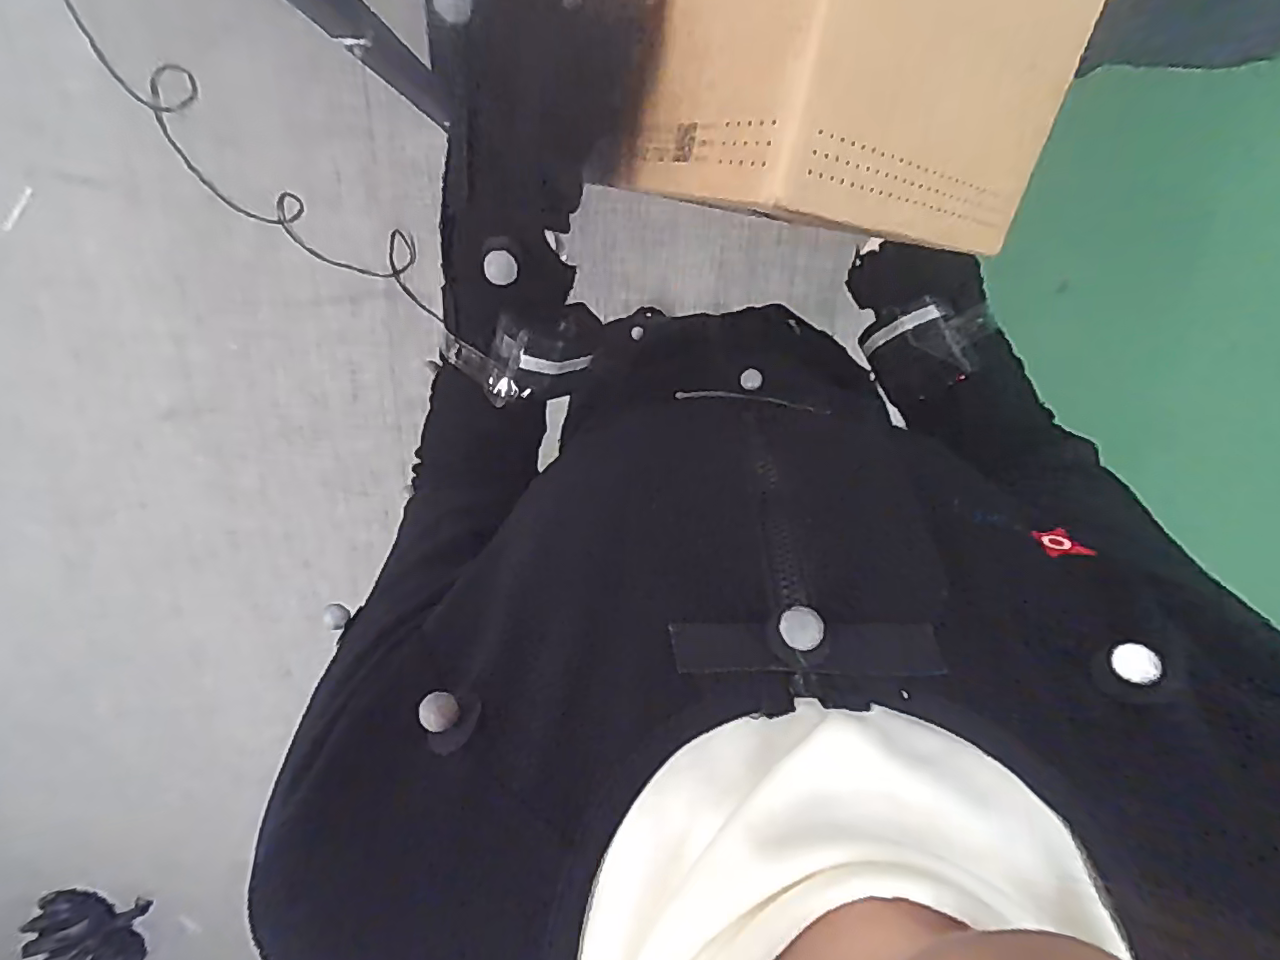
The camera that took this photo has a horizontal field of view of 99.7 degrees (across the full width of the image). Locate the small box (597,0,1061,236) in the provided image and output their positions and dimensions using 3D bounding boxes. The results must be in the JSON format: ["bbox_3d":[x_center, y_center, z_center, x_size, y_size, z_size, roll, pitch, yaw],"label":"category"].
[{"bbox_3d":[0.089,-0.230,0.275,0.179,0.168,0.176,-7,122,-34],"label":"small box"}]
